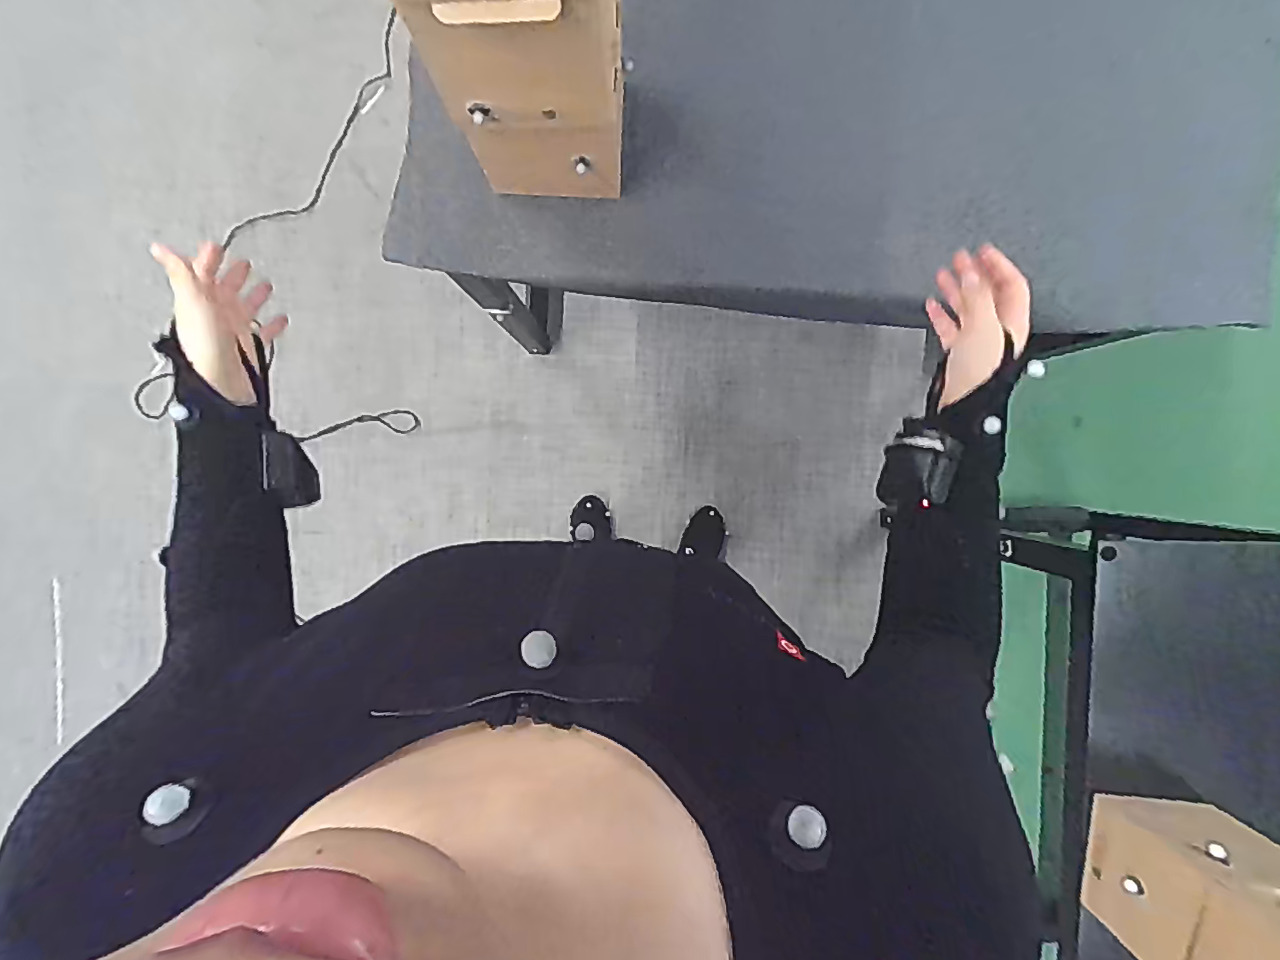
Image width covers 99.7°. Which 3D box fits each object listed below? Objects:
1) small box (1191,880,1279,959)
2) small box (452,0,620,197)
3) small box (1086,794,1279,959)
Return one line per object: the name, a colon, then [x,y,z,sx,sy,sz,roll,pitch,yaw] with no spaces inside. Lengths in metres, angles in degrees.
small box: [0.714,0.560,0.542,0.168,0.176,0.179,13,92,0]
small box: [-0.115,-0.471,0.665,0.179,0.176,0.168,1,90,1]
small box: [0.735,0.541,0.703,0.179,0.176,0.168,6,93,0]
